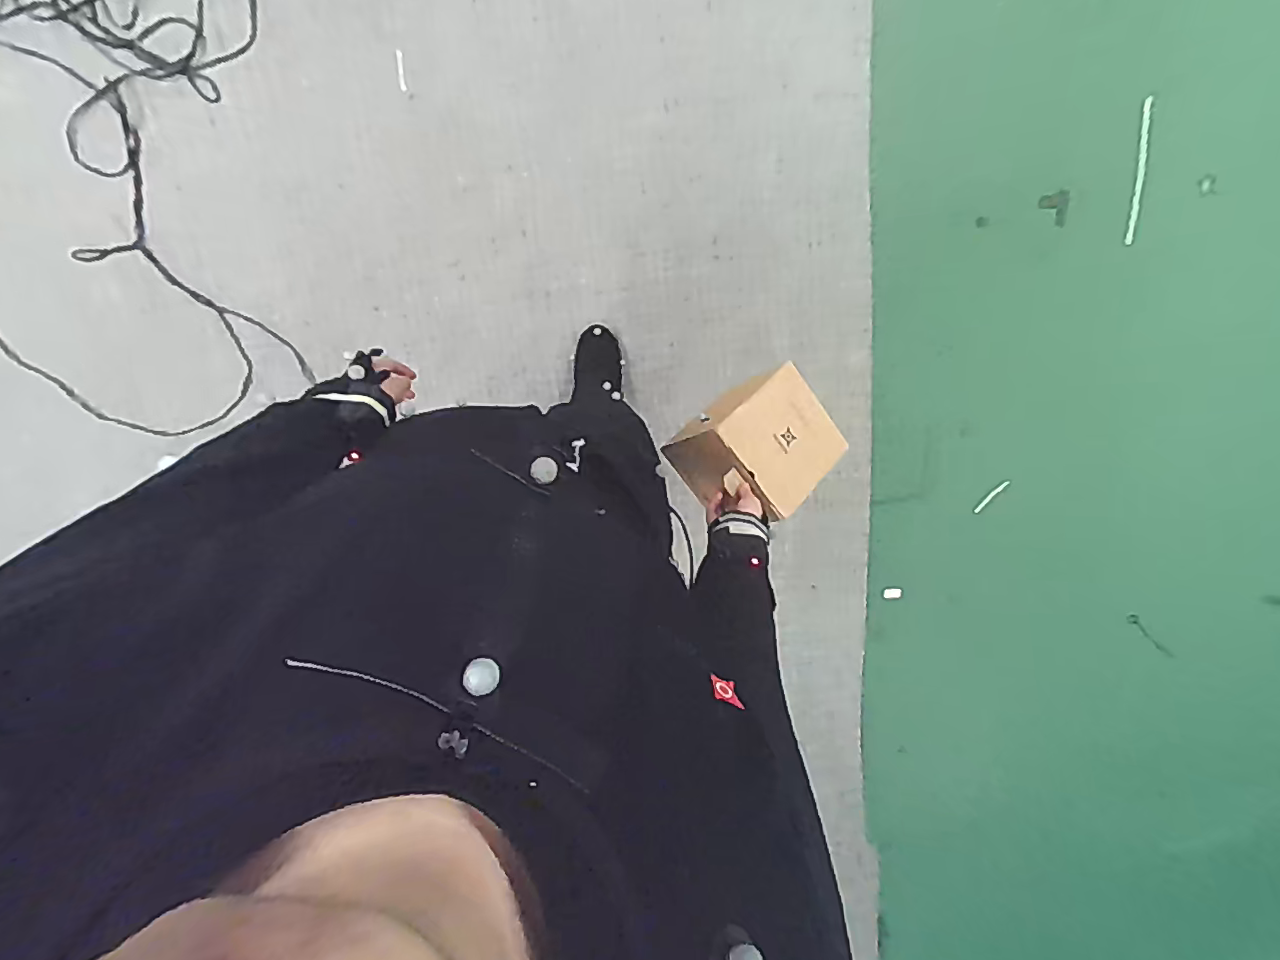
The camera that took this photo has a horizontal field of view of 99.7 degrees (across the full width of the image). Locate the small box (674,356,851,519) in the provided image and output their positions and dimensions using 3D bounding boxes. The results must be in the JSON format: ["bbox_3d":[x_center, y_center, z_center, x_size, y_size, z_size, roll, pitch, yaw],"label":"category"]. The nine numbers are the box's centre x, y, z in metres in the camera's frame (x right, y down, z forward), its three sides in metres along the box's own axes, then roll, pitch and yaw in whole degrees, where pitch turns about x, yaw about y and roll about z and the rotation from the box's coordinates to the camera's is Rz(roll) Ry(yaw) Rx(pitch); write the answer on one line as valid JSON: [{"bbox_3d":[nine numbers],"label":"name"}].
[{"bbox_3d":[0.175,-0.054,0.830,0.179,0.176,0.168,-43,101,-23],"label":"small box"}]

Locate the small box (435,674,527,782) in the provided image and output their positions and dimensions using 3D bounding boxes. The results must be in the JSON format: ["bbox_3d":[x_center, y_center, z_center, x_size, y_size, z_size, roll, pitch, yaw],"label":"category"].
[{"bbox_3d":[-0.412,0.651,1.435,0.168,0.176,0.179,-17,105,0],"label":"small box"}]
